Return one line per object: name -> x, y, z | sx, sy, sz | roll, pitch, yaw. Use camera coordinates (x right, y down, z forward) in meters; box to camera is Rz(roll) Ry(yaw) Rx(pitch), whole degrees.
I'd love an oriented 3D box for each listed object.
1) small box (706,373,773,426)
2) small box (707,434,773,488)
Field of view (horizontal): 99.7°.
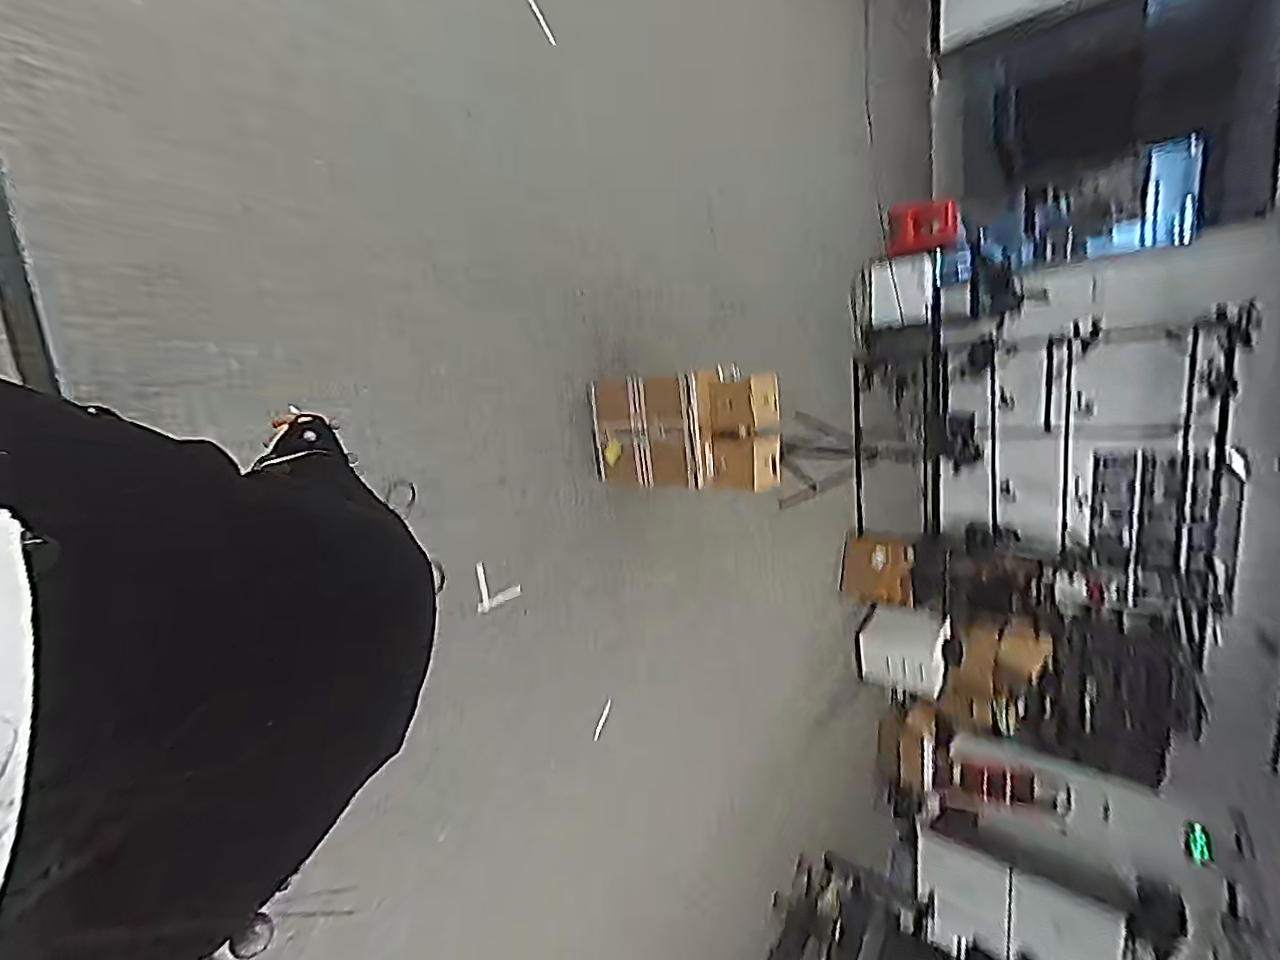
small box -> 0.339, -0.279, 1.874 | 0.179, 0.176, 0.168 | -13, 101, -46
small box -> 0.353, -0.072, 1.909 | 0.179, 0.176, 0.168 | -14, 105, -46
